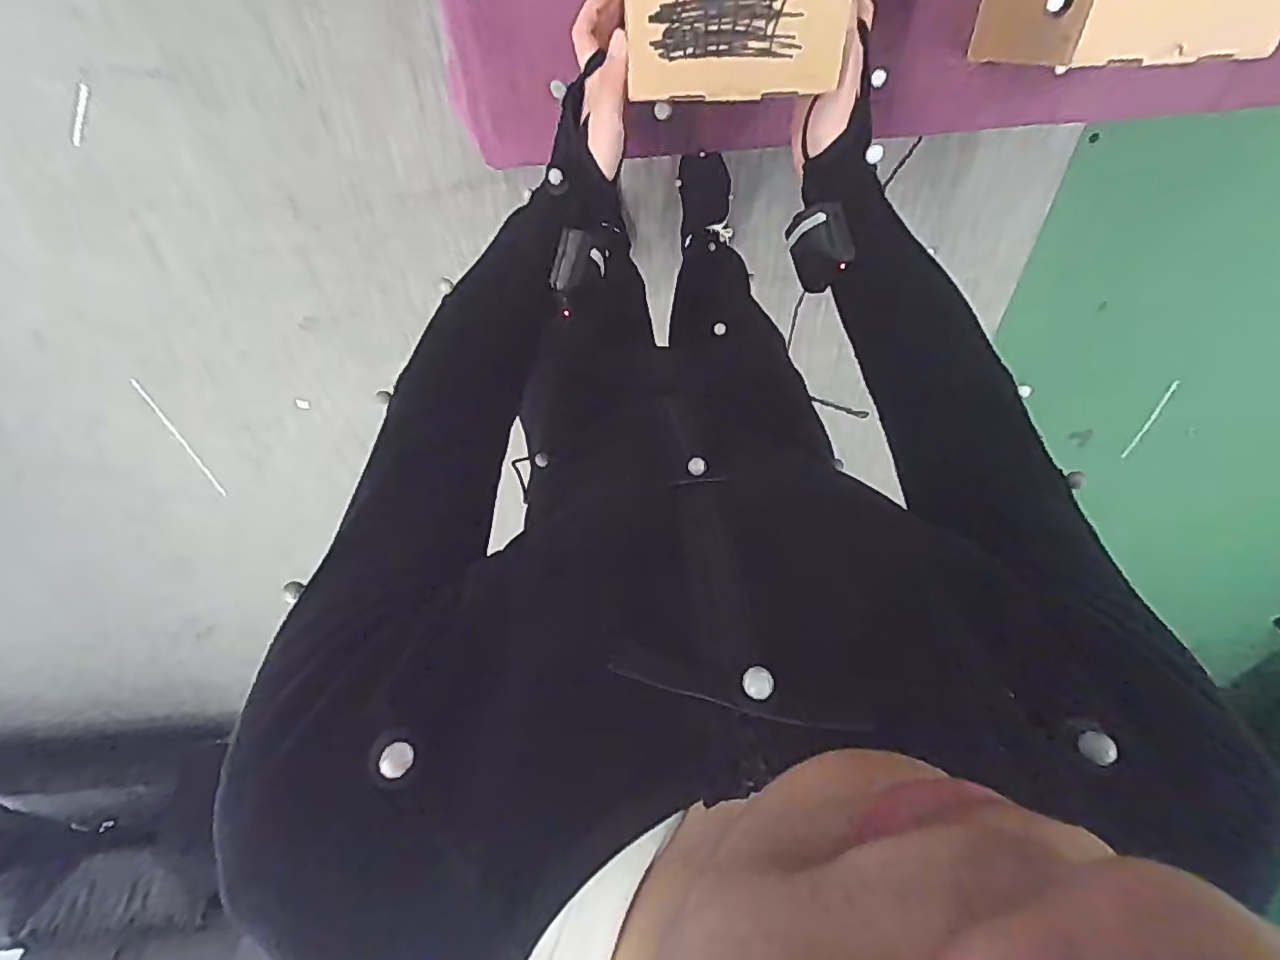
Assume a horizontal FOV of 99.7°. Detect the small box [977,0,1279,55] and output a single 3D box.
[{"bbox_3d":[0.408,-0.451,0.426,0.168,0.176,0.179,-3,131,0],"label":"small box"}]
